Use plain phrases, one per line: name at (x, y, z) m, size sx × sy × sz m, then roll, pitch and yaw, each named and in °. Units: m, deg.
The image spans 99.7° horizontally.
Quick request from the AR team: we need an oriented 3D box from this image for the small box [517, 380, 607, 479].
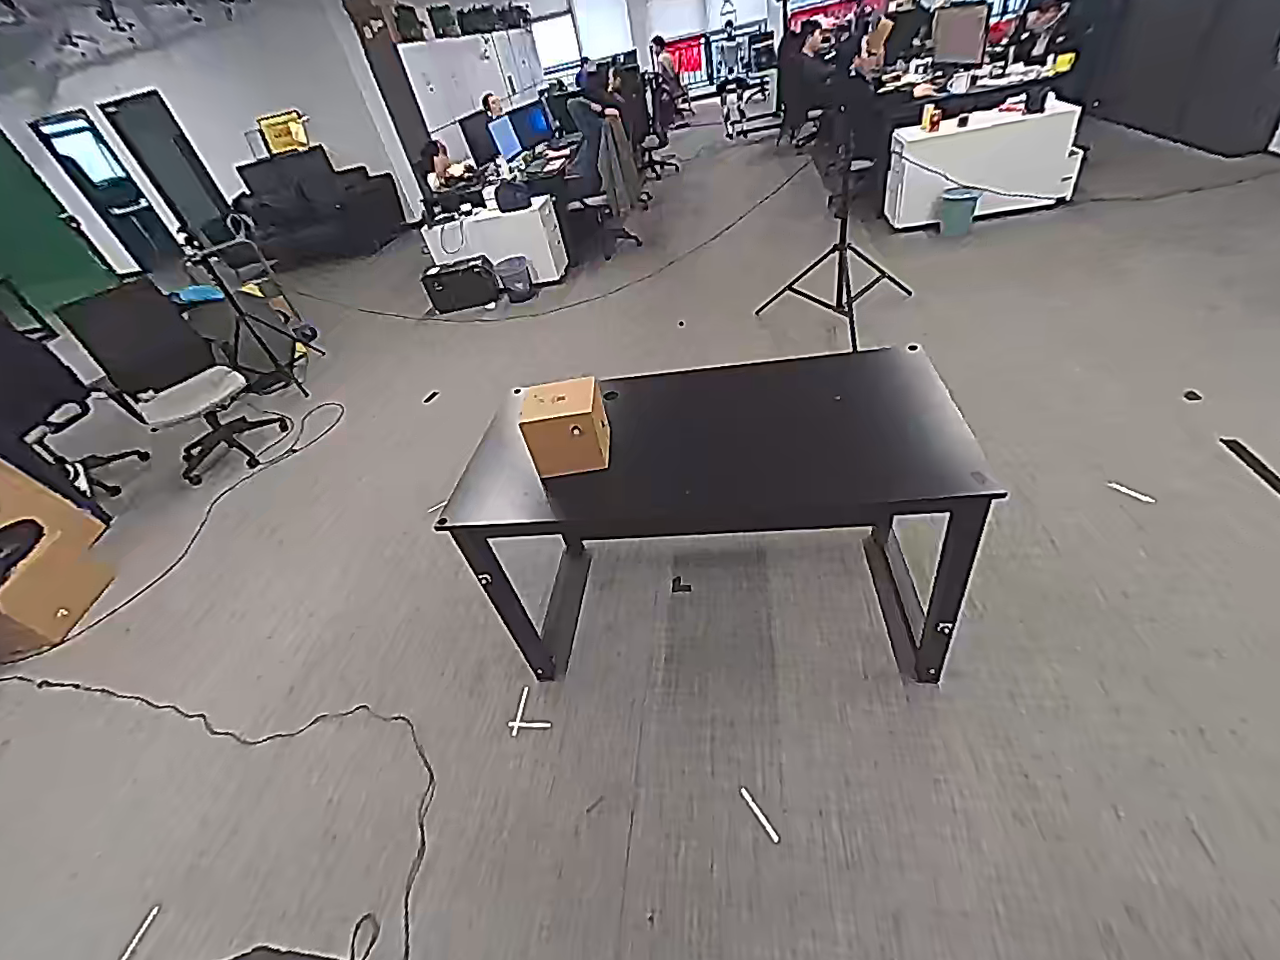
small box at (-0.182, -0.122, 1.336) m, size 0.179 × 0.176 × 0.168 m, roll -9°, pitch 39°, yaw 7°
